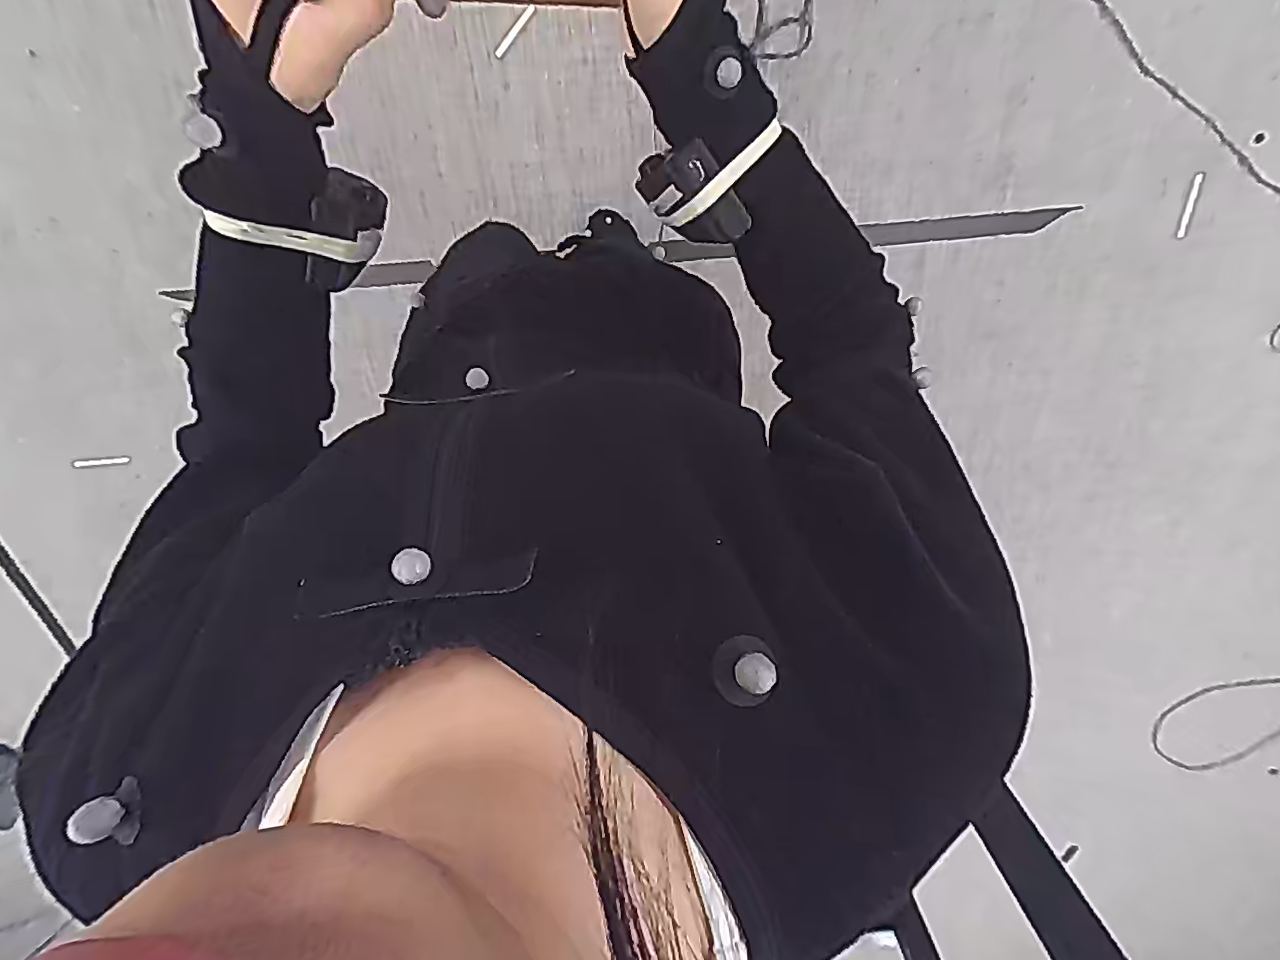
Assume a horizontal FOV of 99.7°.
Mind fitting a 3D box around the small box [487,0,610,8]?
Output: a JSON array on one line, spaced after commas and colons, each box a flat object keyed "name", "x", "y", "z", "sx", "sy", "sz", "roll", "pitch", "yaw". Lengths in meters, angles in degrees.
[{"name": "small box", "x": -0.079, "y": -0.310, "z": 0.183, "sx": 0.168, "sy": 0.176, "sz": 0.179, "roll": -1, "pitch": 111, "yaw": -2}]
